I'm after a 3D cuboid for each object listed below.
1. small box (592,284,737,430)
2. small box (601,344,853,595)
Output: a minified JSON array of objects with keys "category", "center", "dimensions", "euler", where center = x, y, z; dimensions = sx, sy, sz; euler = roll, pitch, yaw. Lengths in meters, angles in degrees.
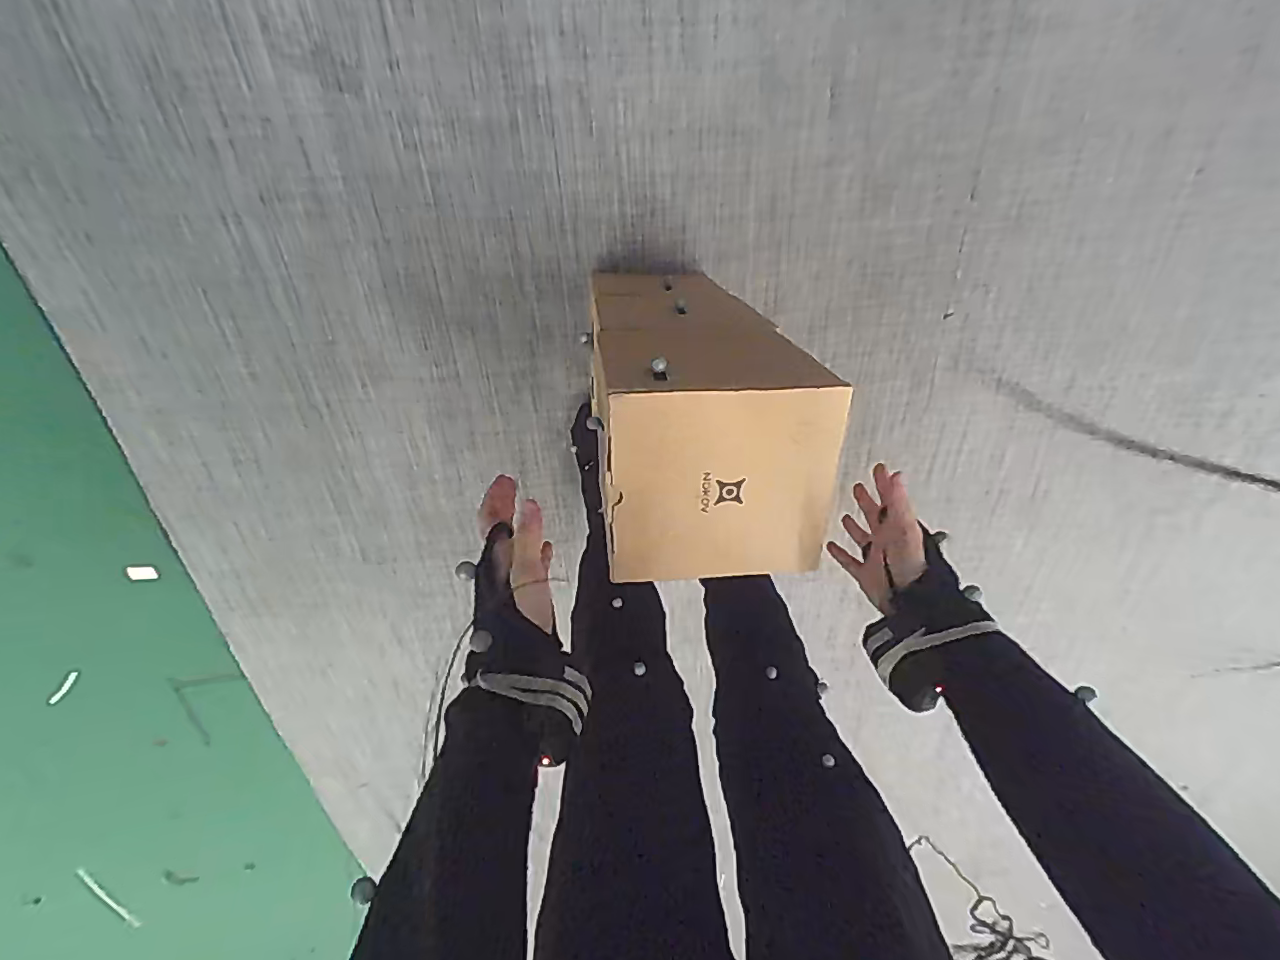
[{"category":"small box","center":[0.023,-0.177,0.764],"dimensions":[0.179,0.176,0.168],"euler":[0,118,-5]},{"category":"small box","center":[0.056,-0.019,0.480],"dimensions":[0.179,0.176,0.168],"euler":[-2,119,-4]}]
